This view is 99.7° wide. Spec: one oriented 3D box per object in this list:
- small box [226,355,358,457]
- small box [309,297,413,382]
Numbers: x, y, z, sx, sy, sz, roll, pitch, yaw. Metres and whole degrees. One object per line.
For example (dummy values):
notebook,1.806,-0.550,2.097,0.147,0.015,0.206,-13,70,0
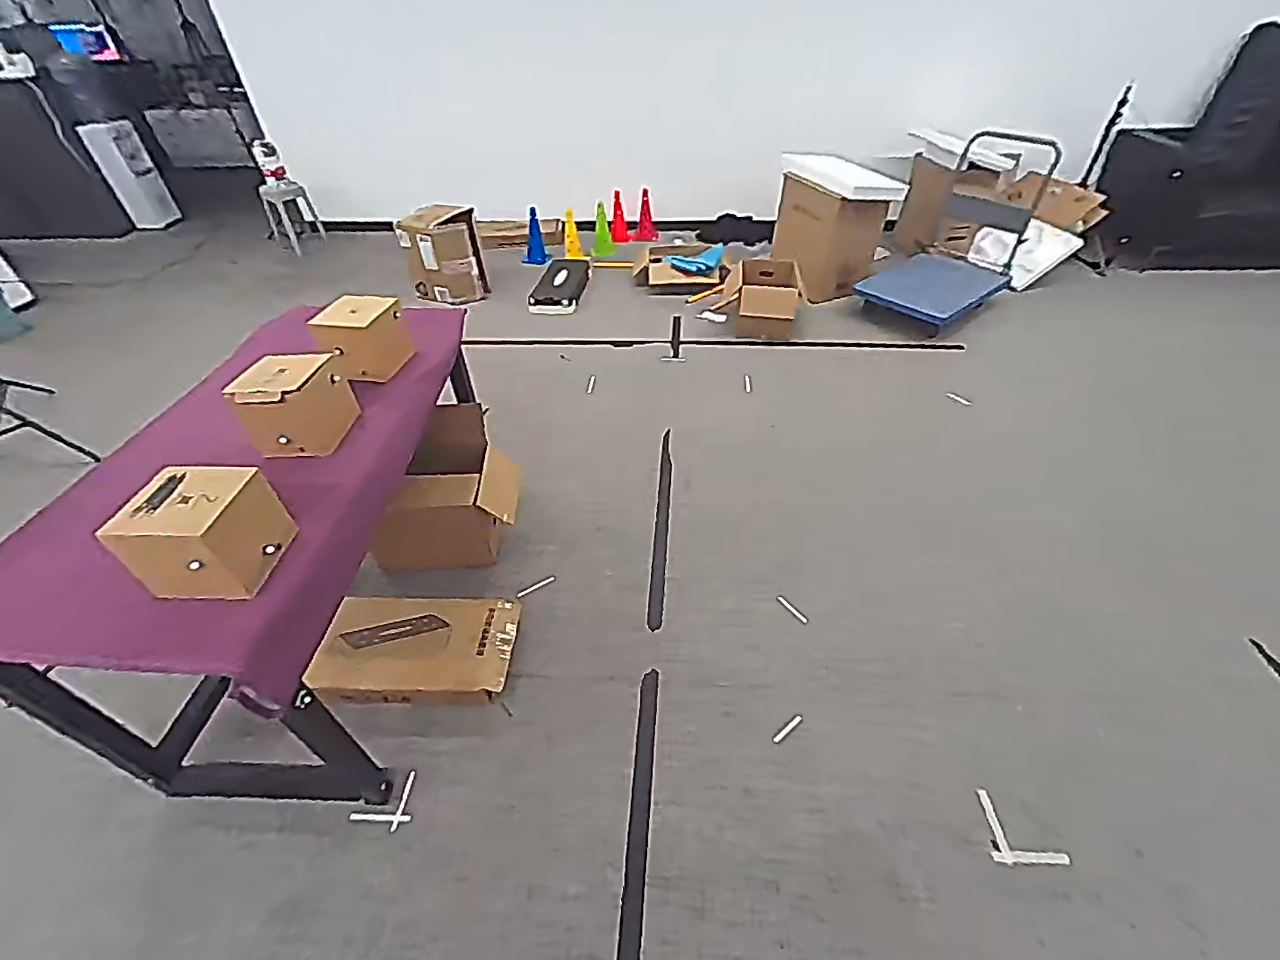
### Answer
small box,-0.784,-0.170,1.245,0.168,0.176,0.179,-2,42,4
small box,-0.750,-0.383,1.480,0.168,0.176,0.179,5,42,7
